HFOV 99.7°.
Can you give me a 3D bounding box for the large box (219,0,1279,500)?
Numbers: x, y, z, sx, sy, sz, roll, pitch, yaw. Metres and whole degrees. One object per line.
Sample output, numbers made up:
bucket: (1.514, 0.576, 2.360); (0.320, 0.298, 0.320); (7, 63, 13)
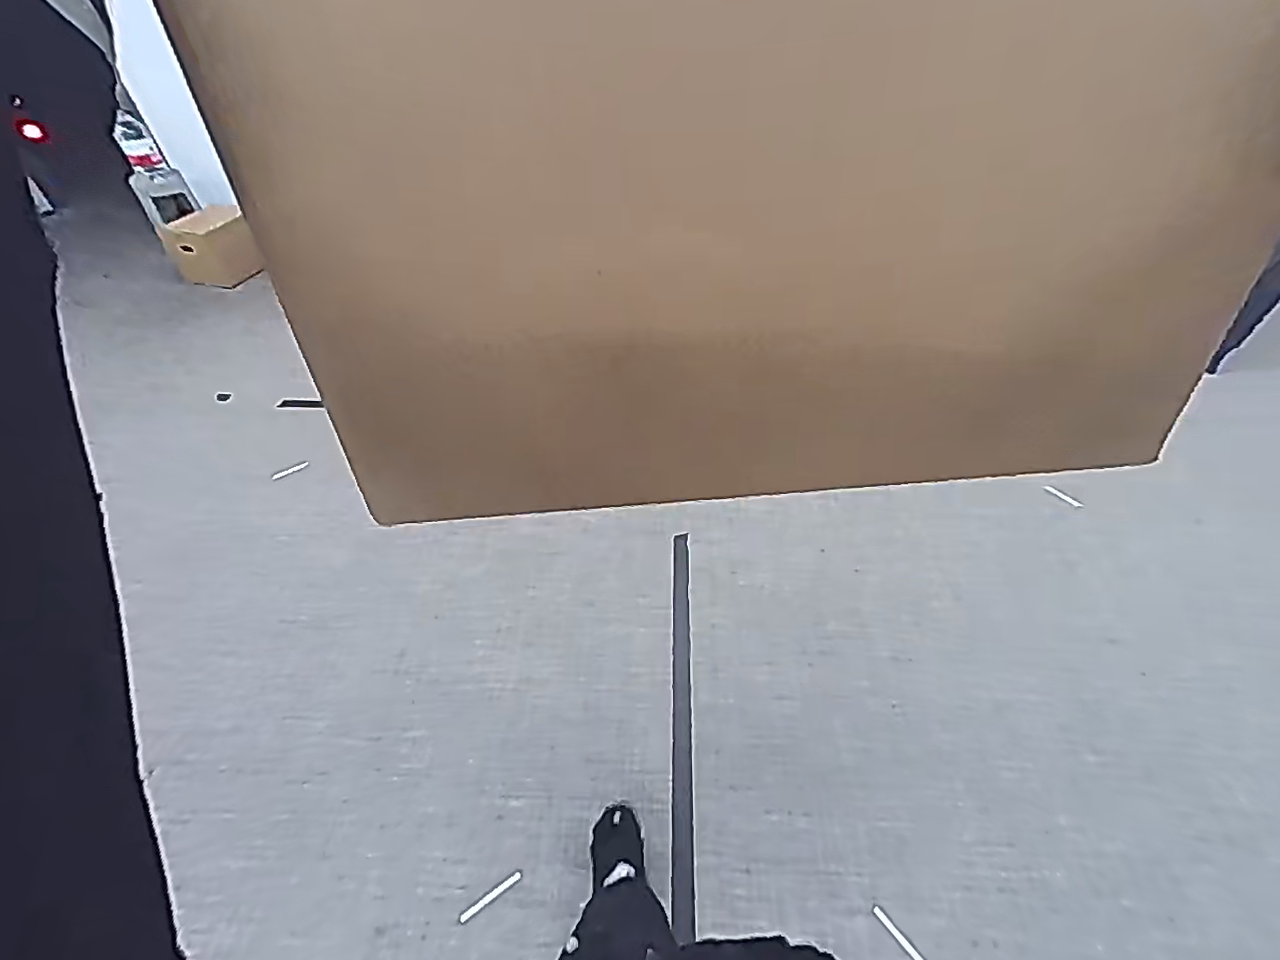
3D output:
large box: (0.048, -0.208, 0.333); (0.408, 0.320, 0.320); (-4, 34, -2)
